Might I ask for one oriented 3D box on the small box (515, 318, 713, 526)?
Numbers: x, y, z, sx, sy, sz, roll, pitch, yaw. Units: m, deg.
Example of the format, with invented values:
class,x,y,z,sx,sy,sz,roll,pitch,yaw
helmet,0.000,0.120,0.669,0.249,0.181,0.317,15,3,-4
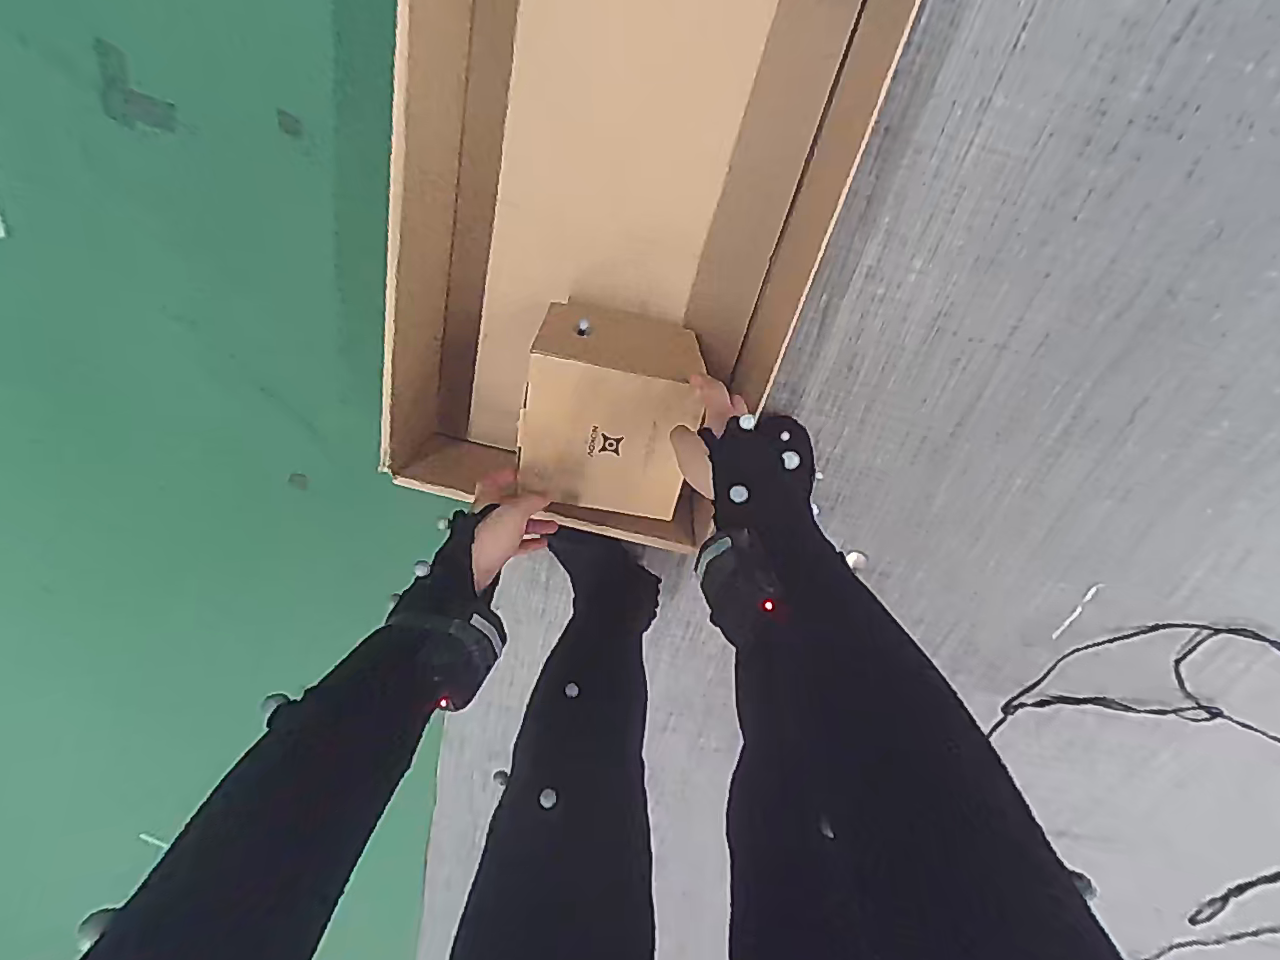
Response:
class,x,y,z,sx,sy,sz,roll,pitch,yaw
small box,-0.035,-0.072,0.613,0.179,0.176,0.168,9,121,-9
